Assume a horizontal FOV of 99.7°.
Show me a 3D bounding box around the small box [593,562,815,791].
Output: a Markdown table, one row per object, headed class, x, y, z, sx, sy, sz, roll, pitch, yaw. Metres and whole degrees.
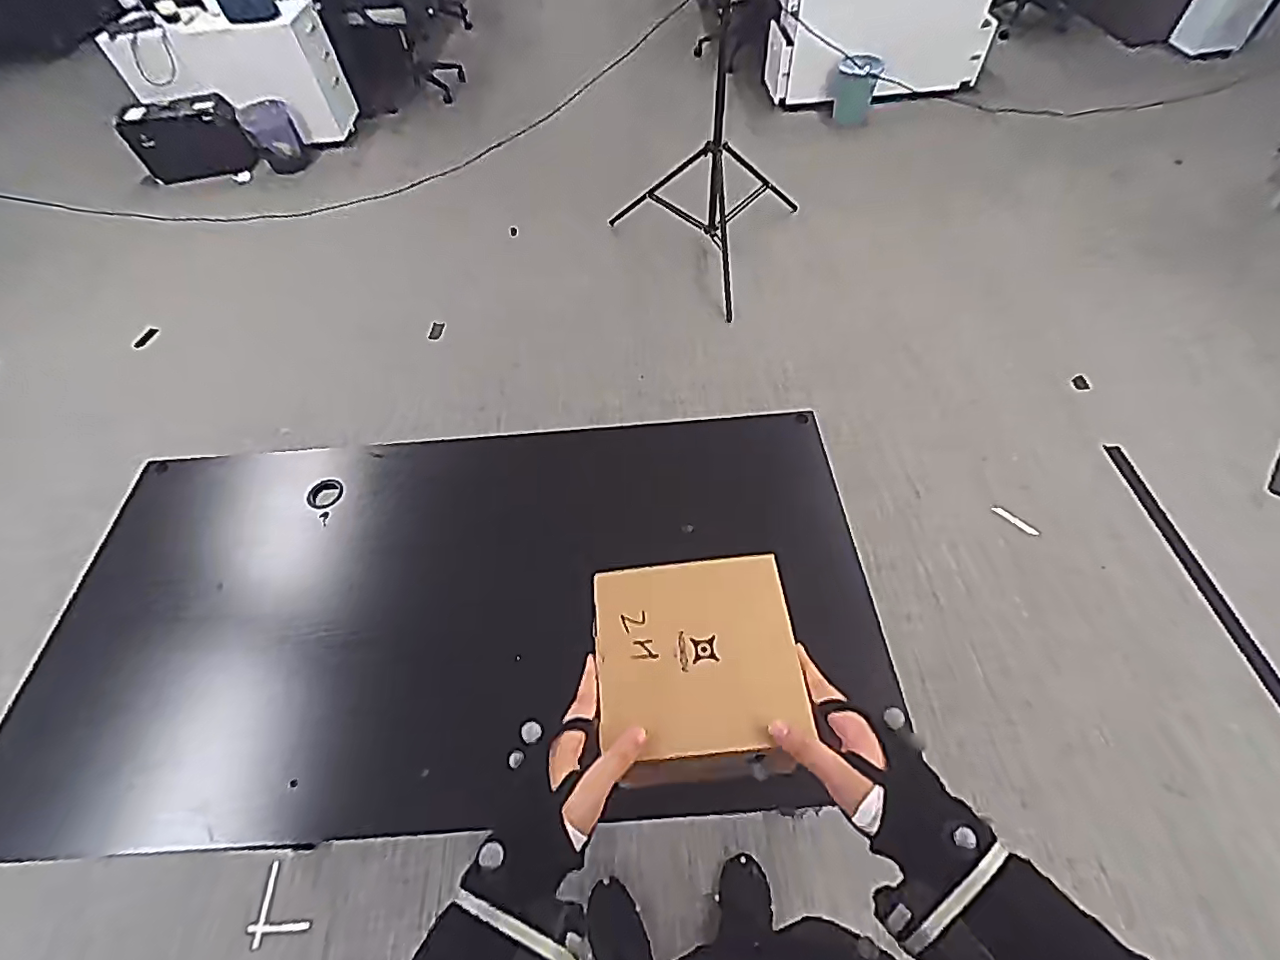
| class | x | y | z | sx | sy | sz | roll | pitch | yaw |
| --- | --- | --- | --- | --- | --- | --- | --- | --- | --- |
| small box | 0.053 | 0.199 | 0.534 | 0.179 | 0.176 | 0.168 | -7 | 53 | 2 |
